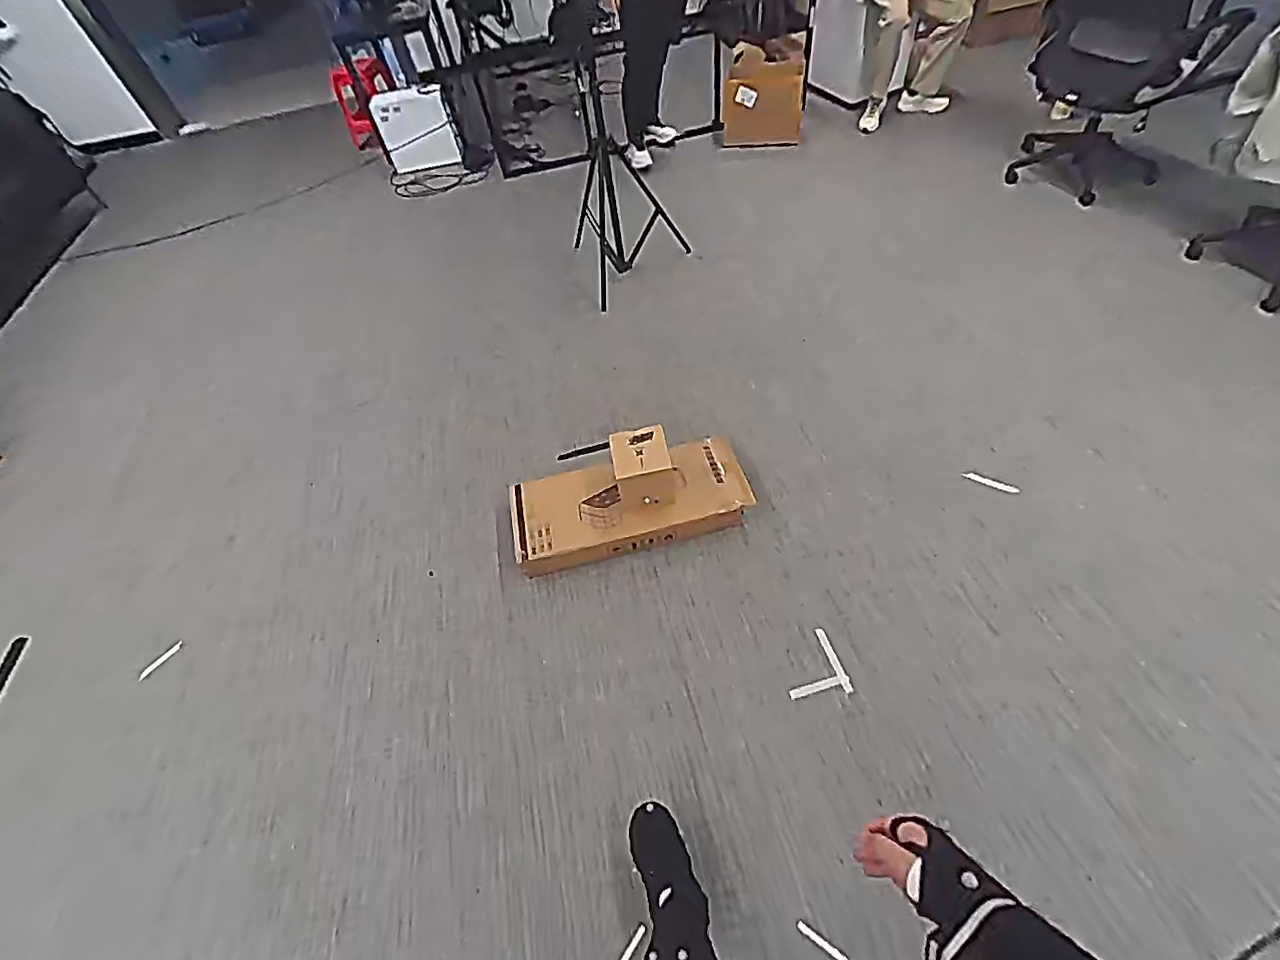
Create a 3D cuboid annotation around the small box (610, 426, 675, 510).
[{"bbox_3d":[0.010,-0.035,1.646,0.168,0.176,0.179,-12,52,0],"label":"small box"}]
